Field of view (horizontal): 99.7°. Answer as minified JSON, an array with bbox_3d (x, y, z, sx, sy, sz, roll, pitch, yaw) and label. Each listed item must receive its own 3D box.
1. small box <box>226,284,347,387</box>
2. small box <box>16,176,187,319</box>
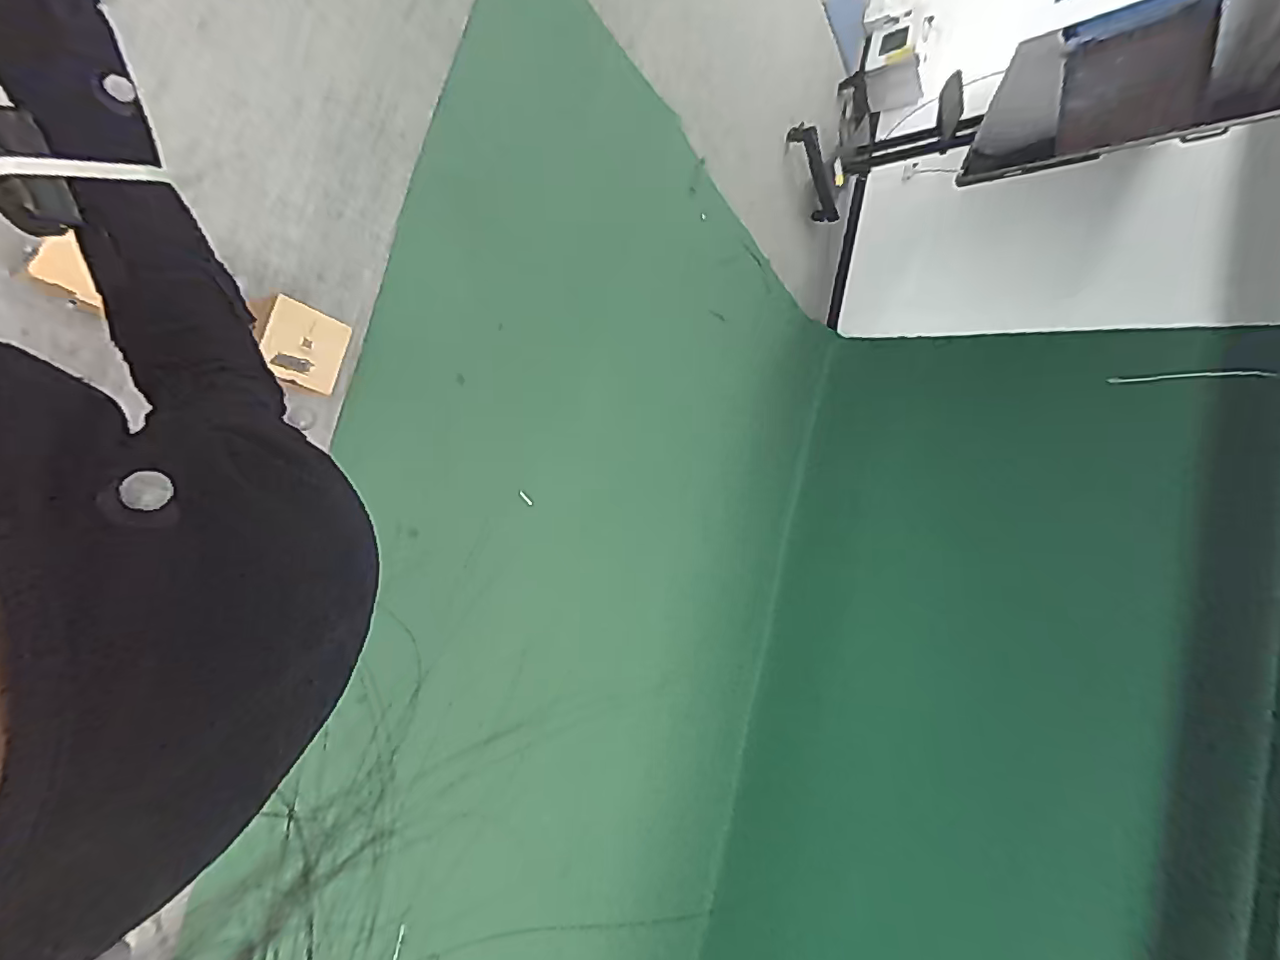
[{"bbox_3d":[-0.820,-0.326,1.249,0.168,0.176,0.179,24,78,-52],"label":"small box"},{"bbox_3d":[-0.995,-0.417,0.998,0.168,0.176,0.179,32,73,-51],"label":"small box"}]
